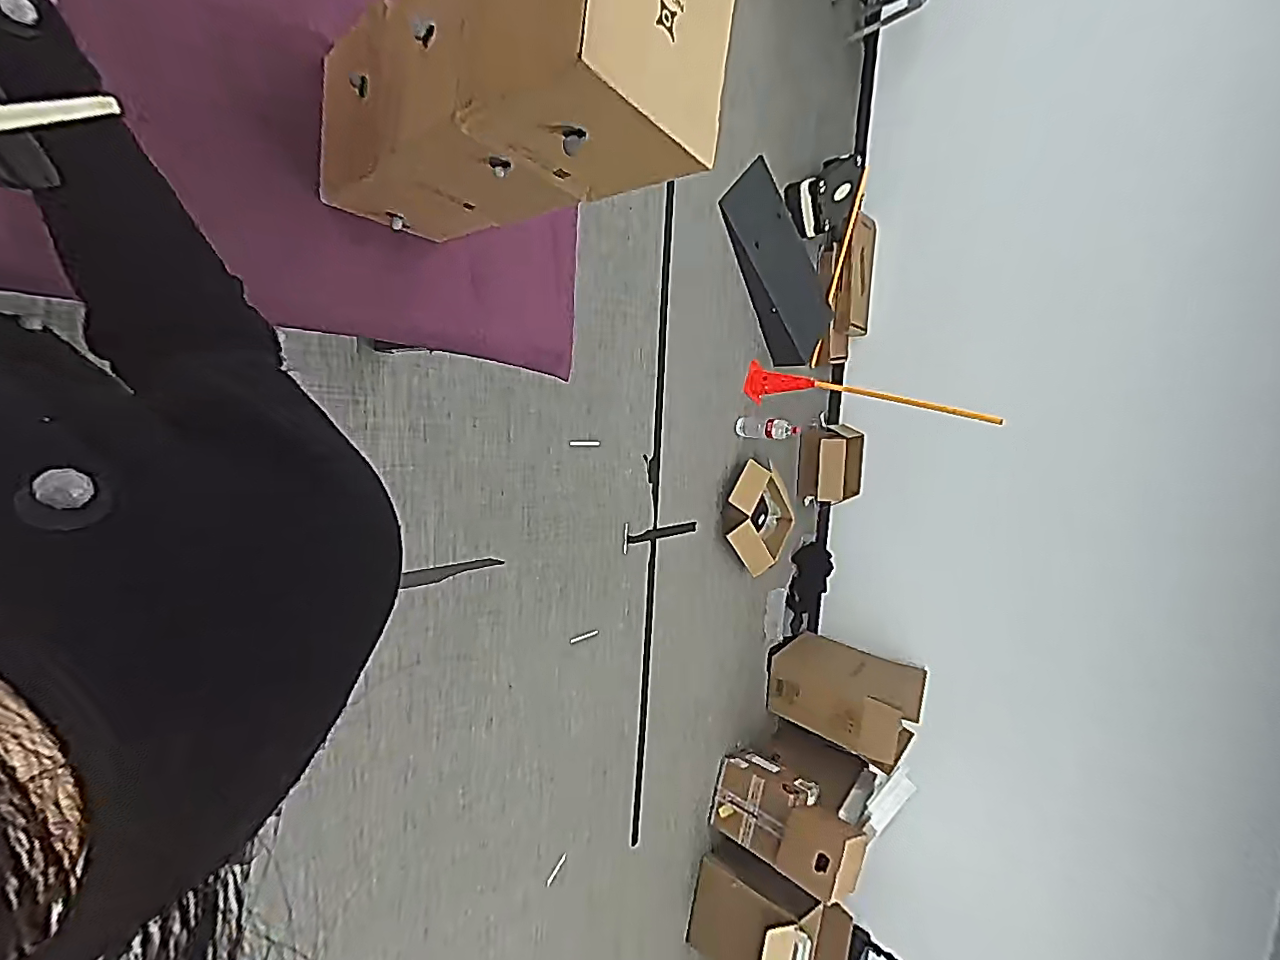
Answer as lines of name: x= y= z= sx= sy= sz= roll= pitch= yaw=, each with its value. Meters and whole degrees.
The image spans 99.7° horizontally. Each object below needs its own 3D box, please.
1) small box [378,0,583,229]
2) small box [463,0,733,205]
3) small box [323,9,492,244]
small box: x=-0.164 y=-0.402 z=0.586 sx=0.168 sy=0.176 sz=0.179 roll=3 pitch=94 yaw=-49
small box: x=-0.040 y=-0.375 z=0.482 sx=0.168 sy=0.176 sz=0.179 roll=2 pitch=95 yaw=-49
small box: x=-0.287 y=-0.426 z=0.691 sx=0.168 sy=0.176 sz=0.179 roll=-1 pitch=98 yaw=-49
